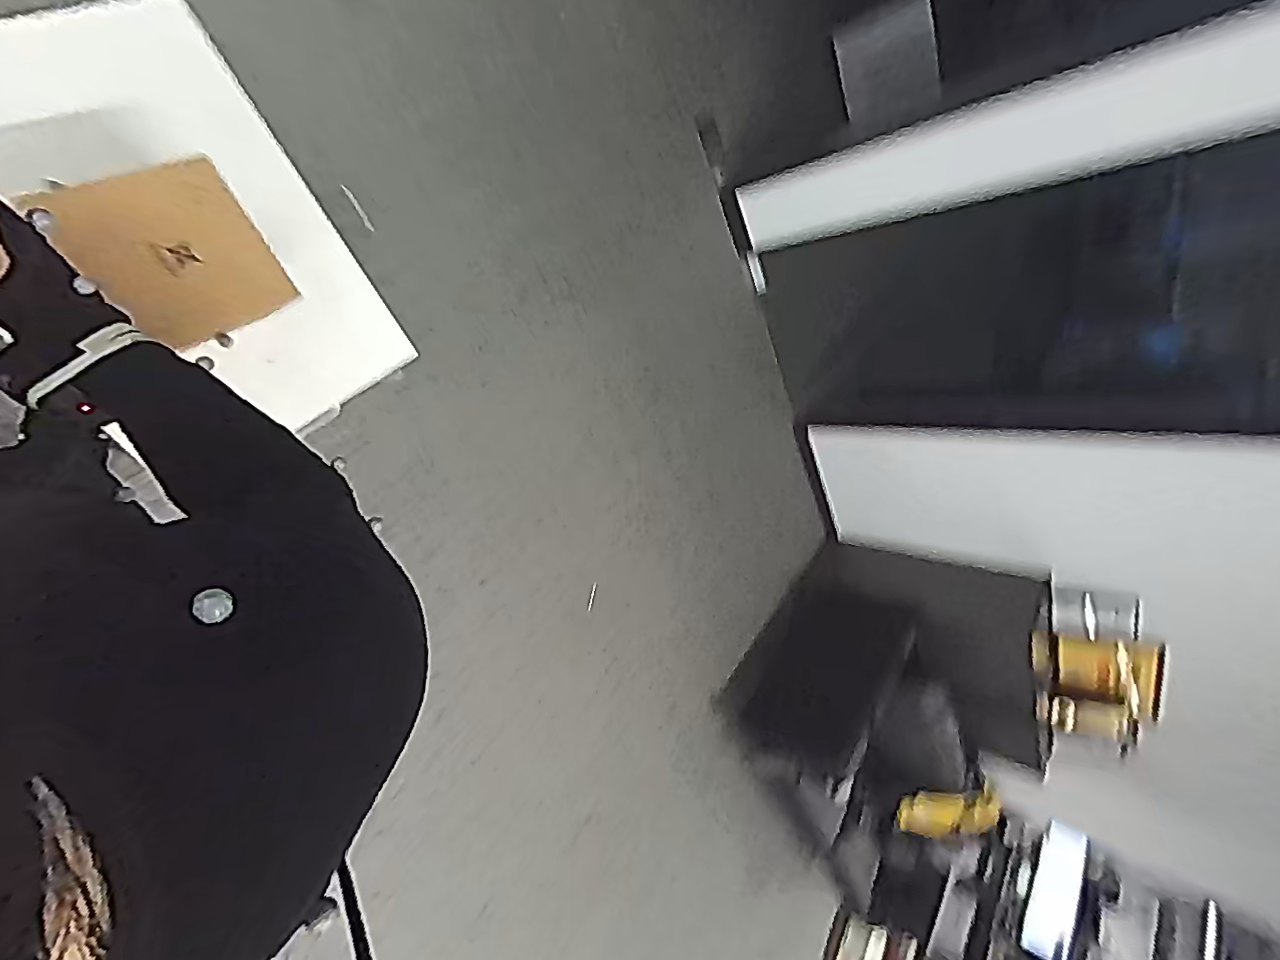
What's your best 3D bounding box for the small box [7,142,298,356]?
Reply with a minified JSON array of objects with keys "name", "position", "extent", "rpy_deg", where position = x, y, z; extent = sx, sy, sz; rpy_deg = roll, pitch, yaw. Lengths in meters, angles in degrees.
[{"name":"small box","position":[-0.546,-0.255,0.619],"extent":[0.179,0.176,0.168],"rpy_deg":[-43,124,-33]}]
